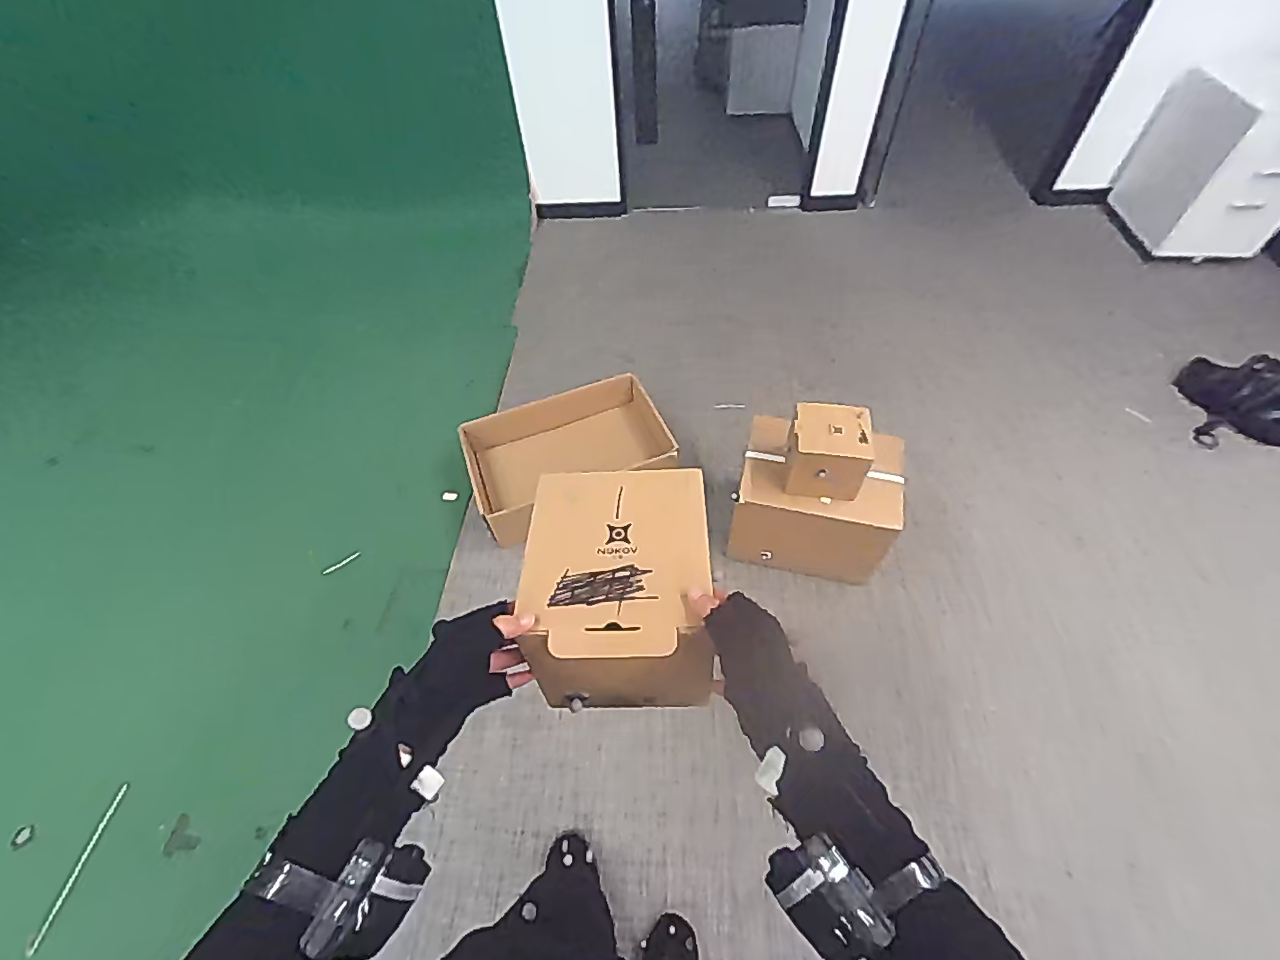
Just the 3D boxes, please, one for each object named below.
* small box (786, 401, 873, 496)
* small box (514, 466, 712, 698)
[{"bbox_3d":[0.463,-0.076,1.347,0.179,0.176,0.168,5,54,8],"label":"small box"},{"bbox_3d":[-0.015,0.108,0.547,0.168,0.176,0.179,-3,47,3],"label":"small box"}]
